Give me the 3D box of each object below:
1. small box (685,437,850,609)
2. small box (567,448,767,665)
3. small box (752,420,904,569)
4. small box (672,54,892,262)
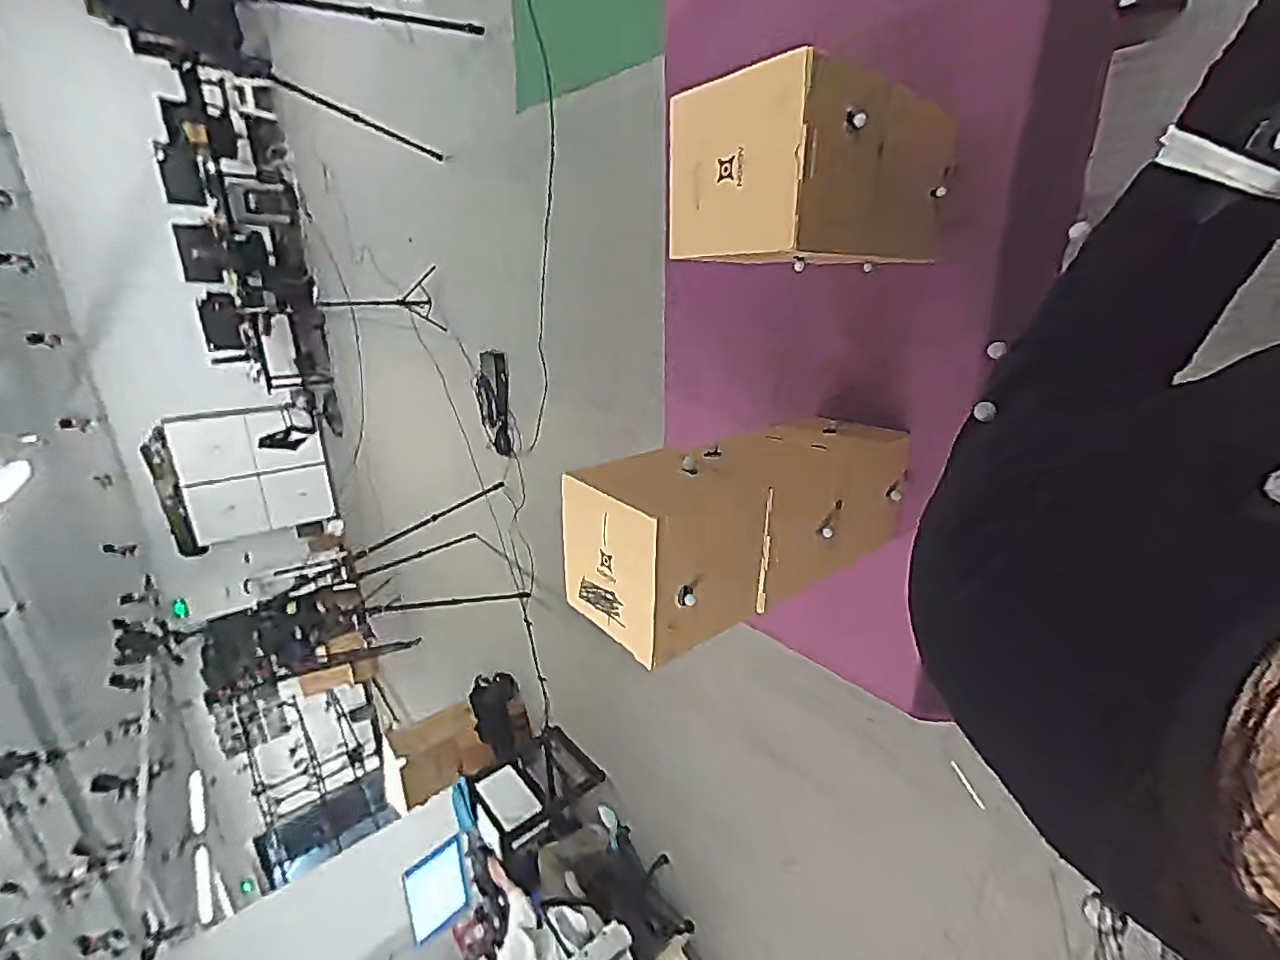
[{"bbox_3d":[0.156,0.043,0.738,0.179,0.176,0.168,21,119,46],"label":"small box"},{"bbox_3d":[0.031,0.075,0.636,0.168,0.176,0.179,23,119,45],"label":"small box"},{"bbox_3d":[0.285,0.008,0.836,0.168,0.176,0.179,19,116,47],"label":"small box"},{"bbox_3d":[0.154,-0.336,0.604,0.179,0.176,0.168,21,118,46],"label":"small box"}]
